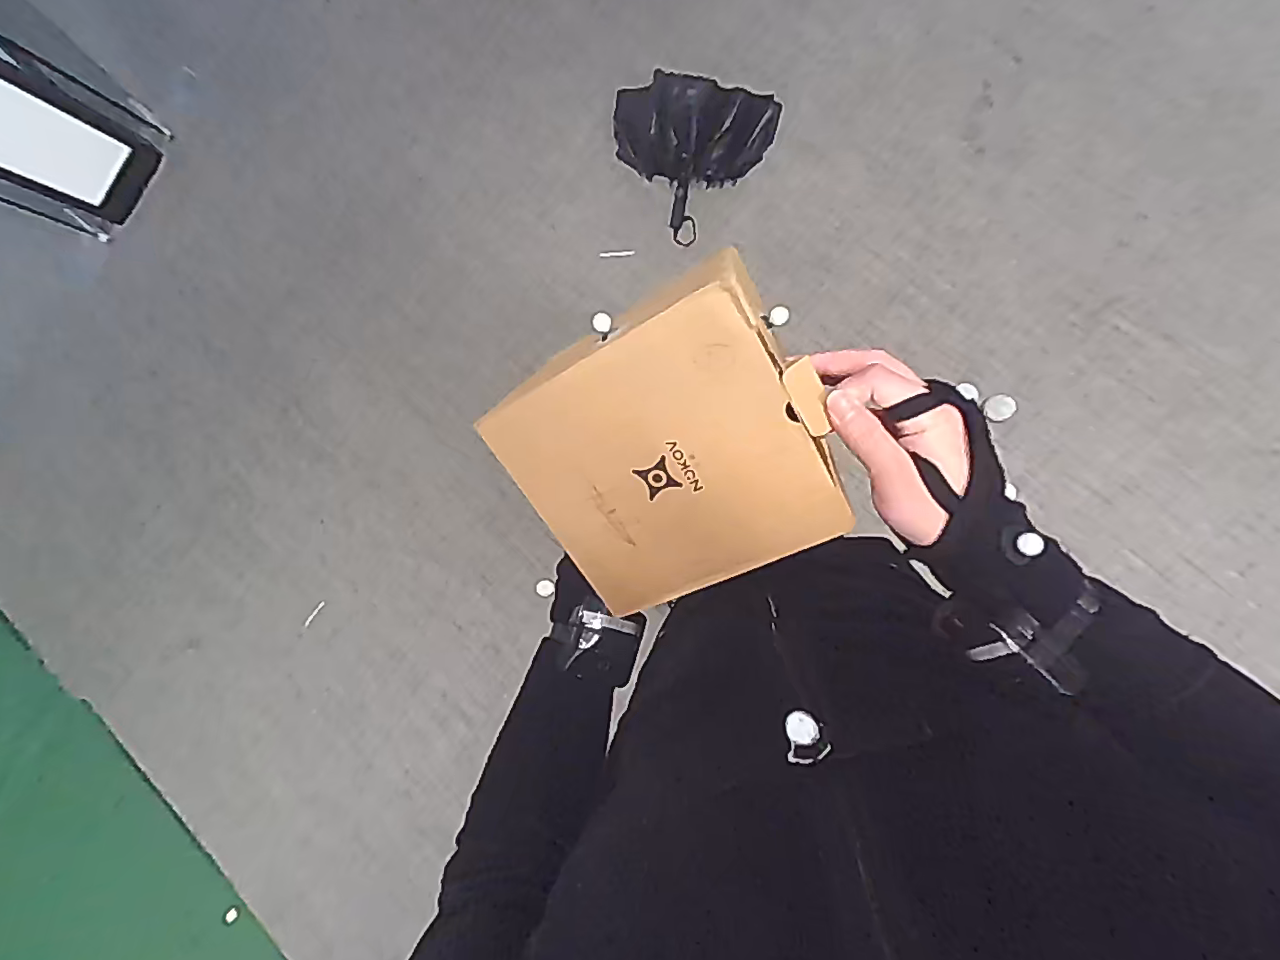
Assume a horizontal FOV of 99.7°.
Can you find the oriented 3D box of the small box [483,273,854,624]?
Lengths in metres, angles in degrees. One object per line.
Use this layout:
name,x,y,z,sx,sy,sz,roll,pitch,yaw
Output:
small box,0.027,-0.033,0.397,0.179,0.176,0.168,-27,107,21
